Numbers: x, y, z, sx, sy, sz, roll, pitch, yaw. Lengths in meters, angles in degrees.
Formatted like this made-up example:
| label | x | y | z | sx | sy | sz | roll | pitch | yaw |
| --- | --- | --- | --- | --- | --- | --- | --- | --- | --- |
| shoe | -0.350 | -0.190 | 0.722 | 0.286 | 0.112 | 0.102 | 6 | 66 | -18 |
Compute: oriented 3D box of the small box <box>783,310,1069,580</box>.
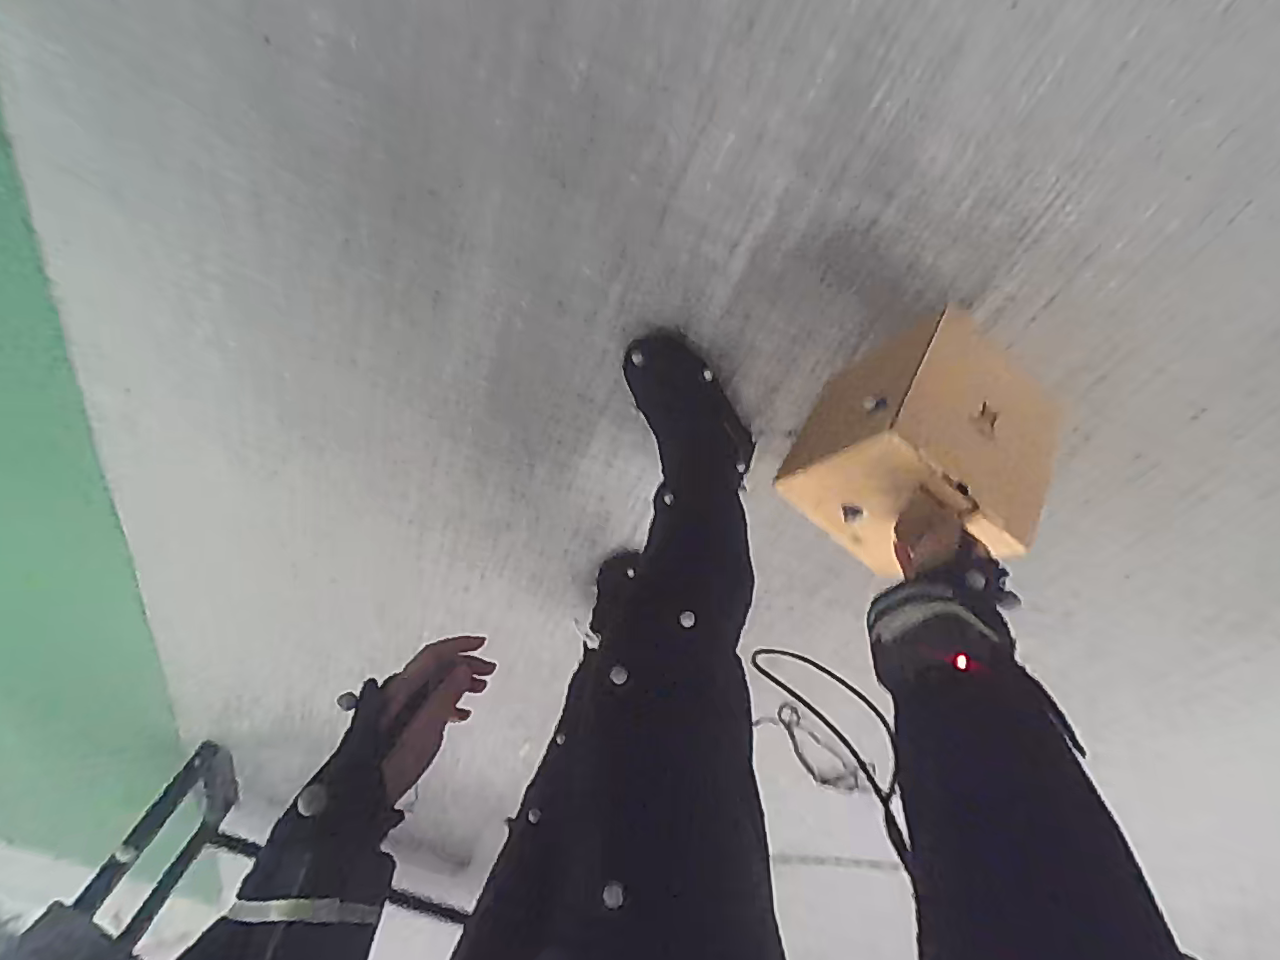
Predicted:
| label | x | y | z | sx | sy | sz | roll | pitch | yaw |
| --- | --- | --- | --- | --- | --- | --- | --- | --- | --- |
| small box | 0.273 | -0.023 | 0.537 | 0.168 | 0.179 | 0.176 | 38 | 153 | -7 |
